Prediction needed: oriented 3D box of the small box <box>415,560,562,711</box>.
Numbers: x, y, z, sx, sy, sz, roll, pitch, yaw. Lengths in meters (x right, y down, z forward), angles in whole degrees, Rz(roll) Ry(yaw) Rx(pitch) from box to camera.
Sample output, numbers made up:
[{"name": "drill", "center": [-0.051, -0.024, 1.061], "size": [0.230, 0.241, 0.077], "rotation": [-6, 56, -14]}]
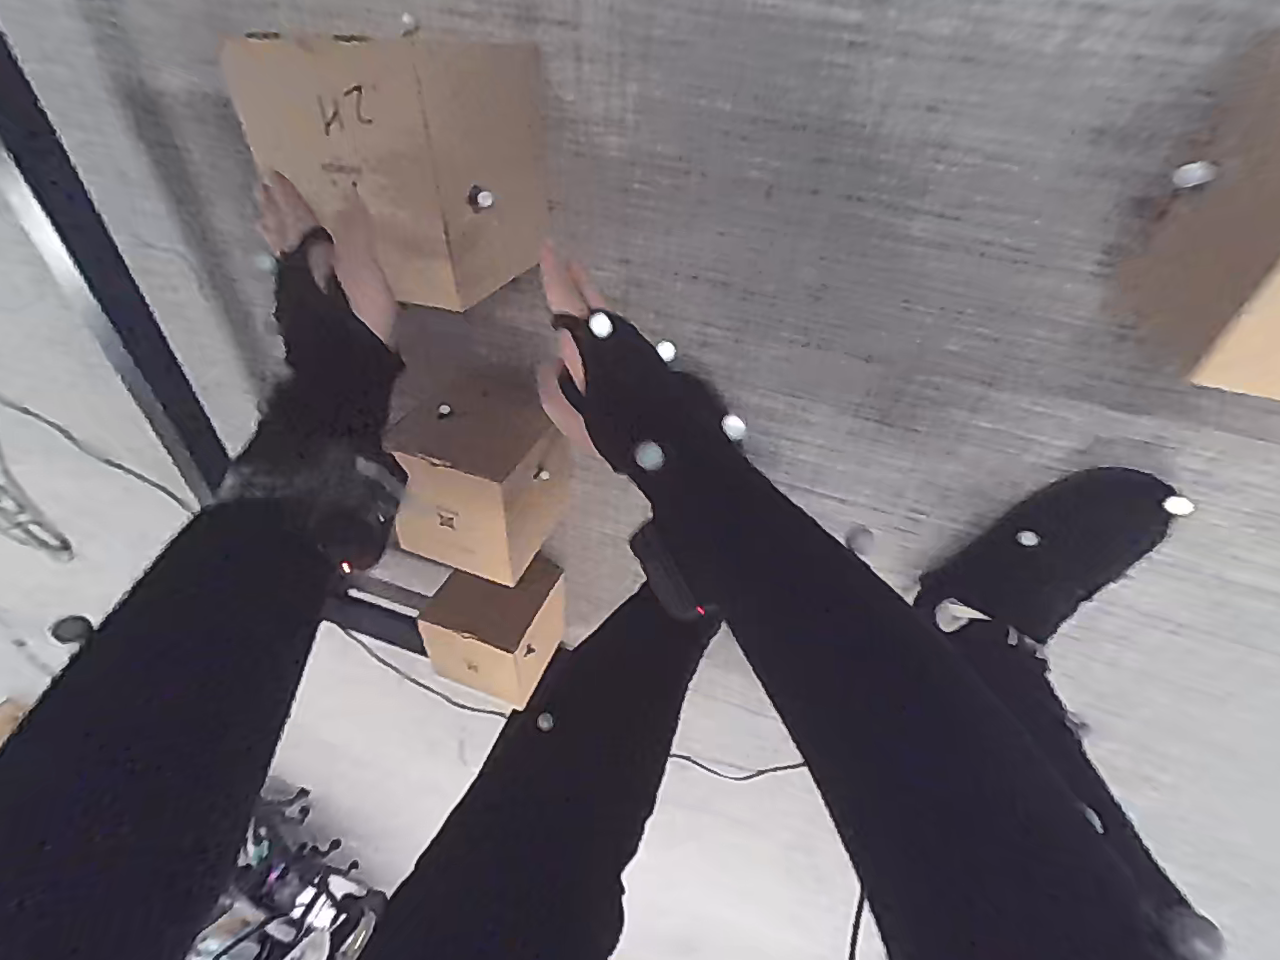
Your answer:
[{"name": "small box", "center": [-0.237, 0.240, 0.896], "size": [0.168, 0.176, 0.179], "rotation": [15, 130, 12]}]

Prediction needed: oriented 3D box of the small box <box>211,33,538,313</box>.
[{"name": "small box", "center": [-0.200, -0.271, 0.471], "size": [0.168, 0.176, 0.179], "rotation": [13, 131, 12]}]

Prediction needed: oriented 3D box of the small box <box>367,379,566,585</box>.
[{"name": "small box", "center": [-0.202, -0.005, 0.685], "size": [0.168, 0.176, 0.179], "rotation": [16, 132, 12]}]
